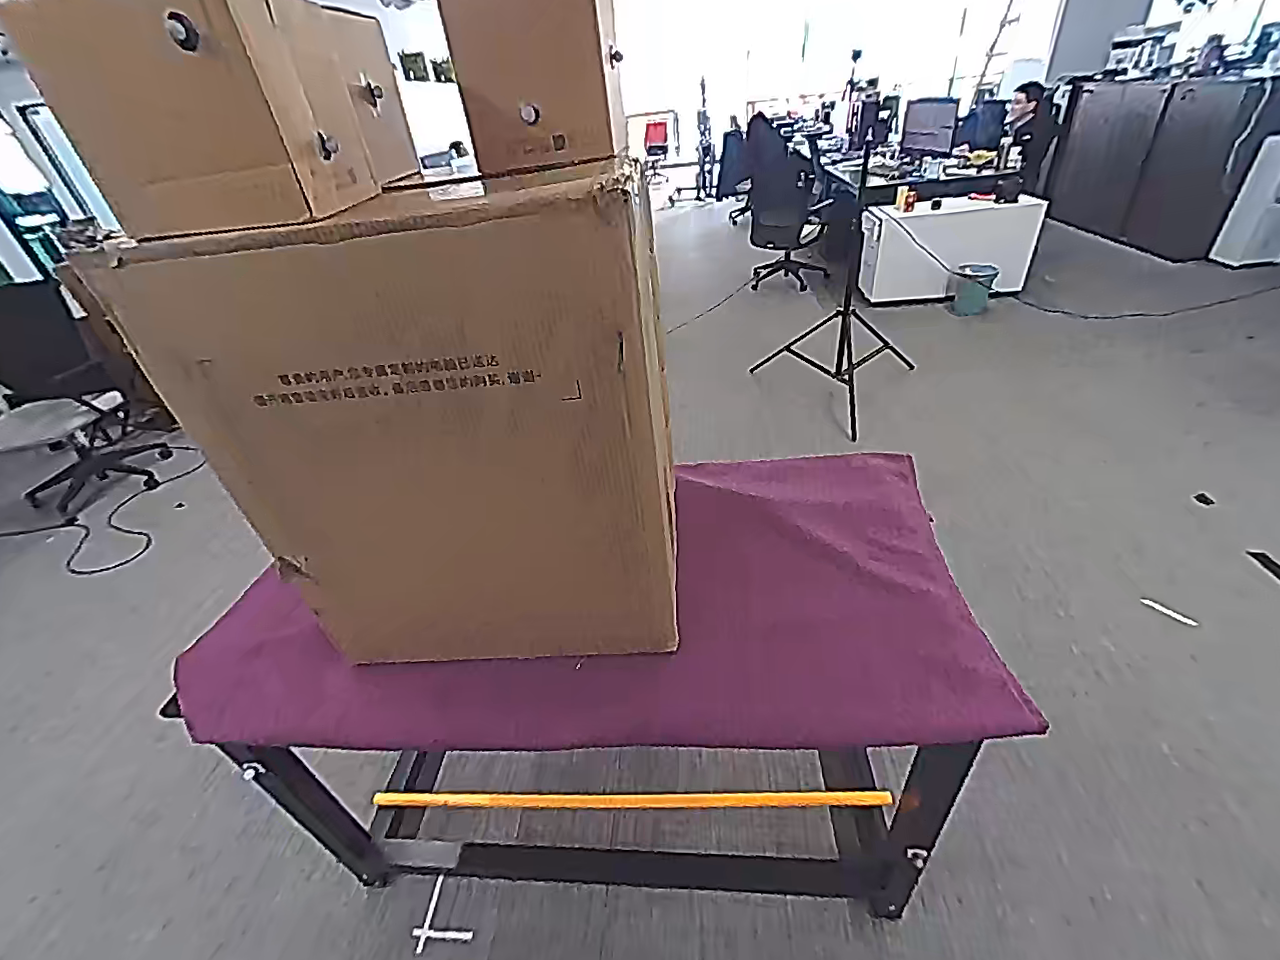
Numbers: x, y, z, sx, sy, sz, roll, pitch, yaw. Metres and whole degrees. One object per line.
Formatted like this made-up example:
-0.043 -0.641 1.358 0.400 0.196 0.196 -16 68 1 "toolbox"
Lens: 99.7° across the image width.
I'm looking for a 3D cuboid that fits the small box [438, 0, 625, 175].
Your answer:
-0.113 -0.477 0.654 0.168 0.176 0.179 -3 35 8 "small box"
